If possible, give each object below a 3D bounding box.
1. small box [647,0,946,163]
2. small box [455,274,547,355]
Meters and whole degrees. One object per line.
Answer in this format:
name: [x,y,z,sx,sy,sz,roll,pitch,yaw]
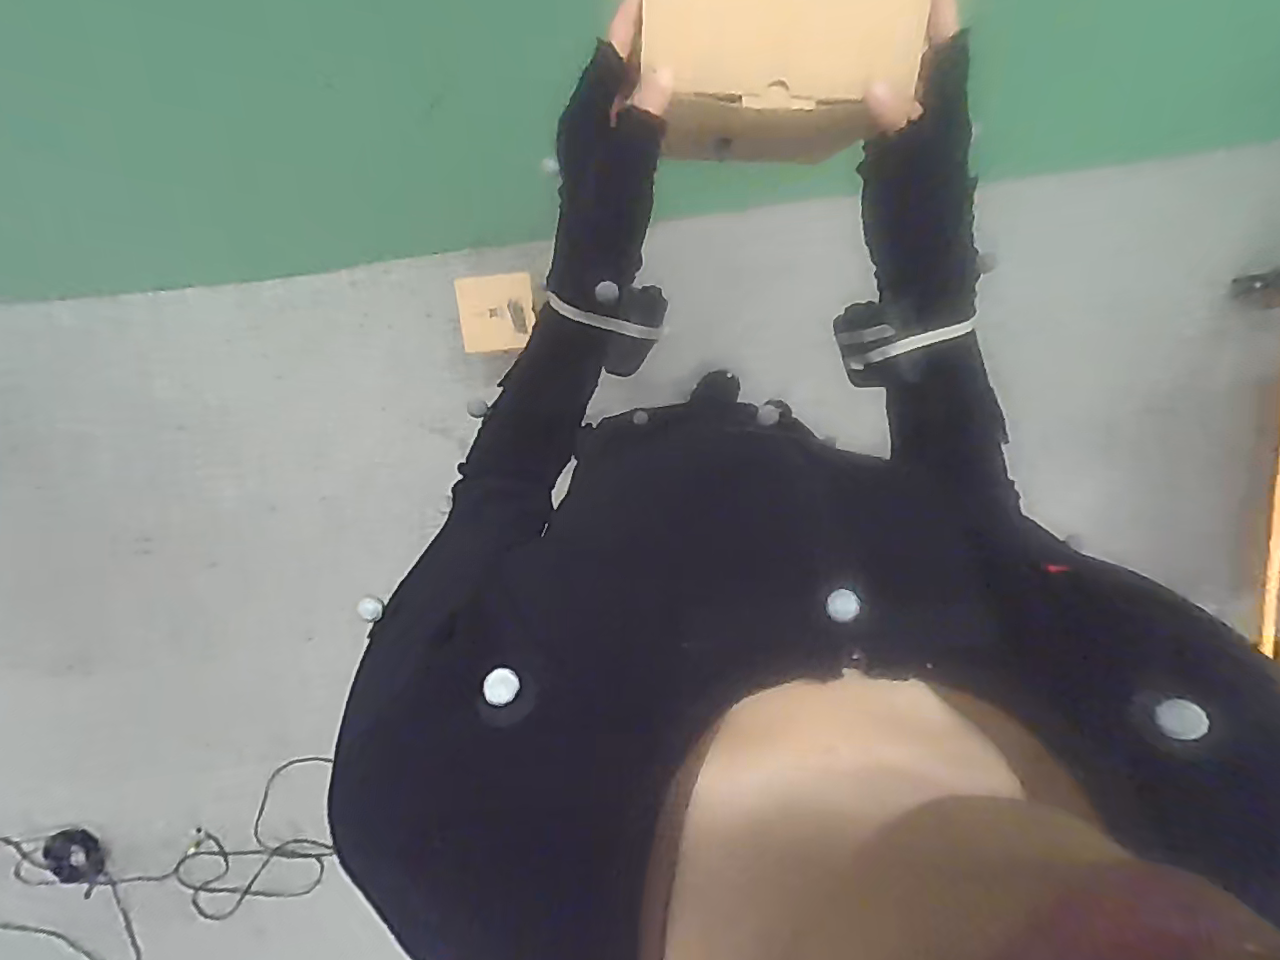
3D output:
small box: [0.091,-0.335,0.367,0.168,0.176,0.179,1,111,-1]
small box: [-0.326,-0.395,1.311,0.179,0.176,0.168,-6,101,0]
